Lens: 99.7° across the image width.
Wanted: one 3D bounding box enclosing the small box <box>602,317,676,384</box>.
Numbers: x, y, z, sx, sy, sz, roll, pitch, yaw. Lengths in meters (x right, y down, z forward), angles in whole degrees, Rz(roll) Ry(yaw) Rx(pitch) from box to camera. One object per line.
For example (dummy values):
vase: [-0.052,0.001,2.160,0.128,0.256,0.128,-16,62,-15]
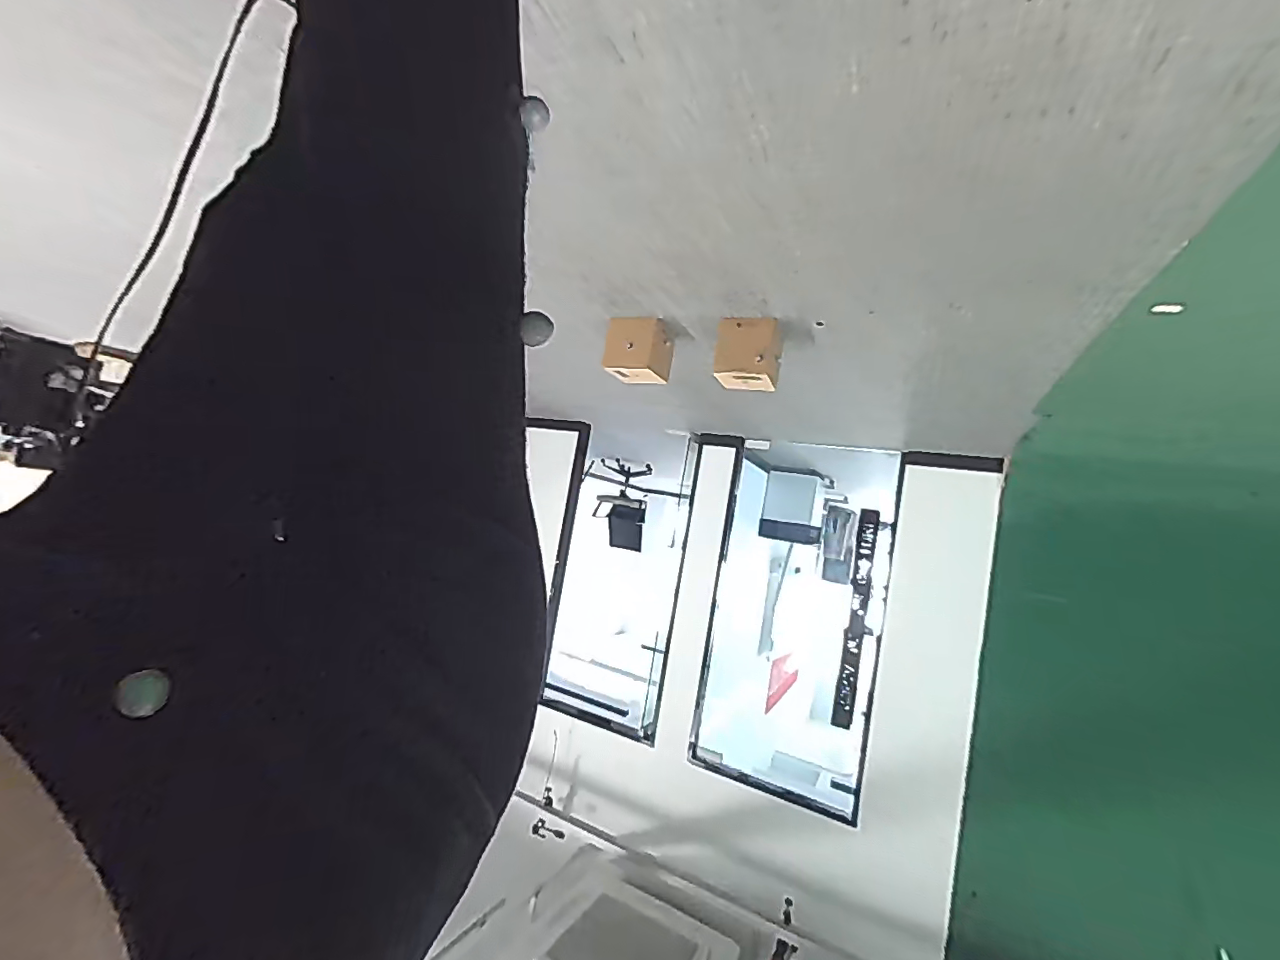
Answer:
small box: [0.001,-0.427,1.780,0.179,0.176,0.168,8,176,27]
